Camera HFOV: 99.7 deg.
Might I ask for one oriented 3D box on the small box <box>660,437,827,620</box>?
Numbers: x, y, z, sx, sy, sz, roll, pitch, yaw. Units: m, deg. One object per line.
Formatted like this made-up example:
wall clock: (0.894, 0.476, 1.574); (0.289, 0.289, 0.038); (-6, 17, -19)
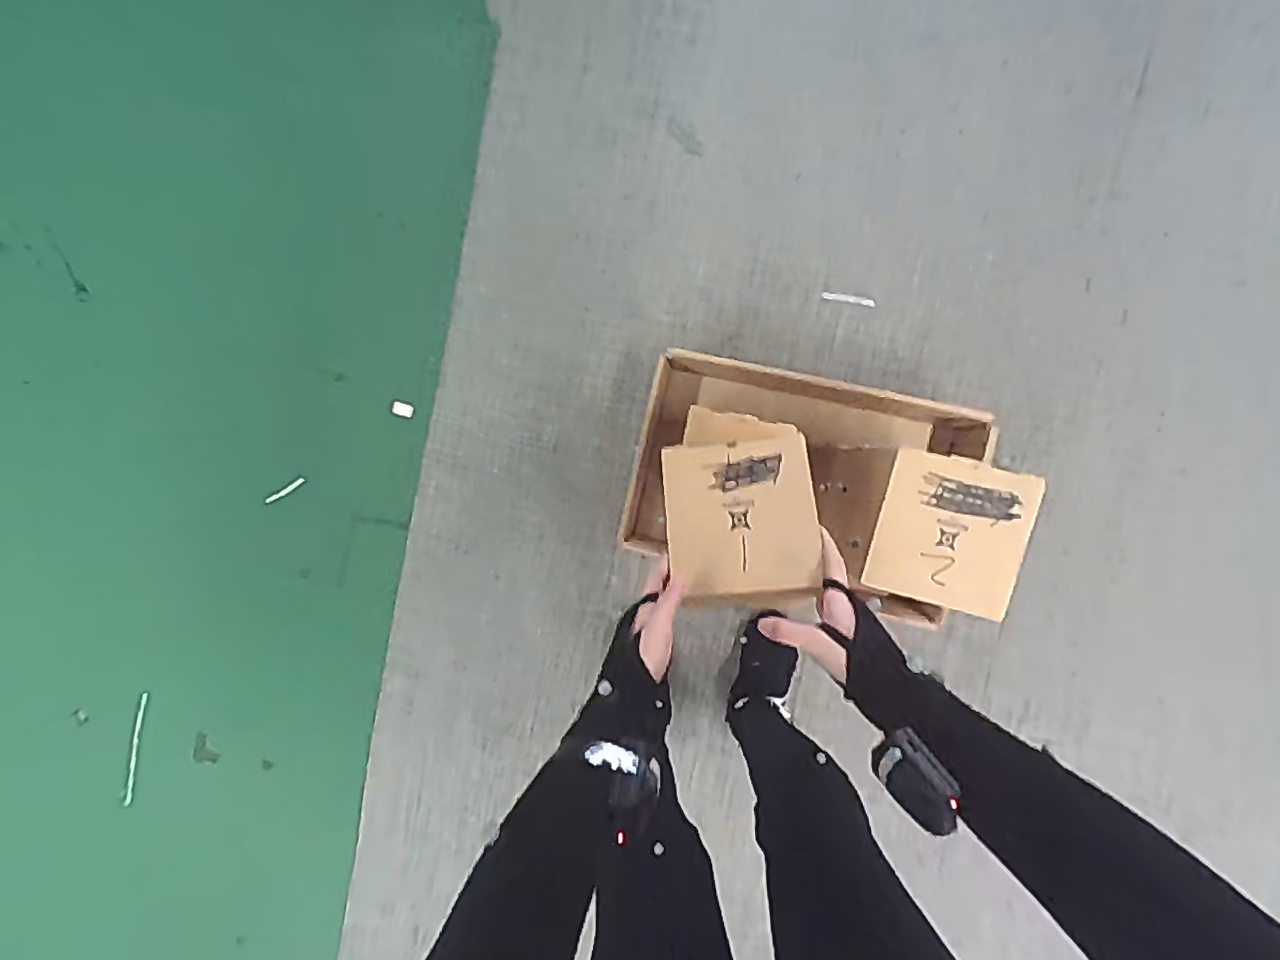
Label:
small box: (0.118, 0.068, 0.662); (0.168, 0.176, 0.179); (-7, 69, 7)

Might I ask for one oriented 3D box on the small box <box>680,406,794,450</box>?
small box: (0.148, -0.014, 0.903); (0.168, 0.176, 0.179); (12, 93, 7)

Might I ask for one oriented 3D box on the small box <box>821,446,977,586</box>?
small box: (0.402, 0.051, 0.871); (0.168, 0.176, 0.179); (14, 93, 9)
